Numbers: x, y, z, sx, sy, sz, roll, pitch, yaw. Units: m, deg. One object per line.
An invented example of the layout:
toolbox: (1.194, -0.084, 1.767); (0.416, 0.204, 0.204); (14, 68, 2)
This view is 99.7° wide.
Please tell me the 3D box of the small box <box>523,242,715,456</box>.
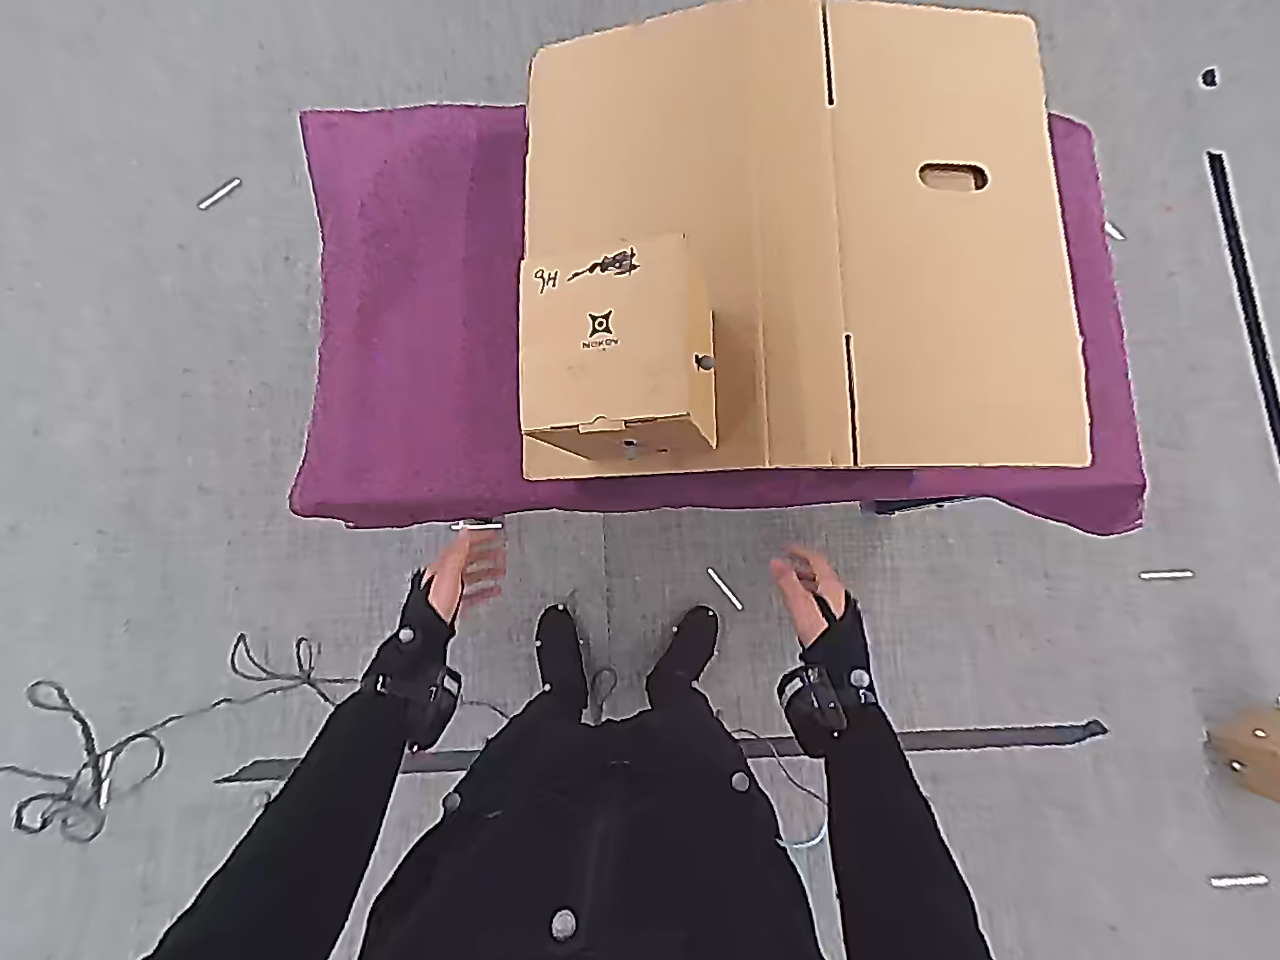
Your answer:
small box: (-0.013, -0.122, 0.583); (0.168, 0.176, 0.179); (-3, 83, 16)
